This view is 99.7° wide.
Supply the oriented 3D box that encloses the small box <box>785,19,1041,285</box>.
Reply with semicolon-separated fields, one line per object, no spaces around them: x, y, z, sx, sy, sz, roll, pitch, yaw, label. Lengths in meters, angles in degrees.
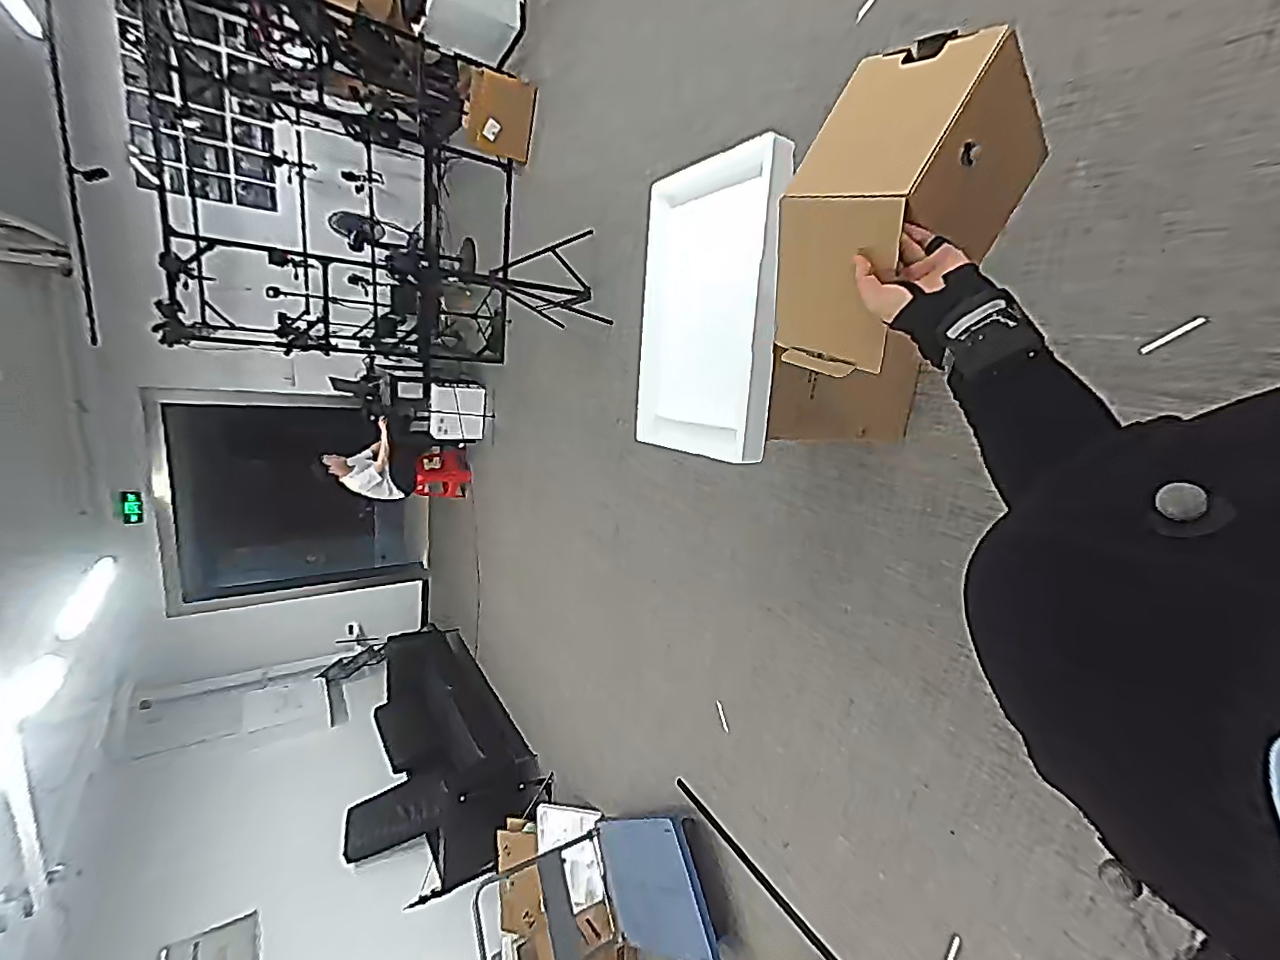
0.306;-0.344;0.604;0.168;0.176;0.179;37;99;50;small box
